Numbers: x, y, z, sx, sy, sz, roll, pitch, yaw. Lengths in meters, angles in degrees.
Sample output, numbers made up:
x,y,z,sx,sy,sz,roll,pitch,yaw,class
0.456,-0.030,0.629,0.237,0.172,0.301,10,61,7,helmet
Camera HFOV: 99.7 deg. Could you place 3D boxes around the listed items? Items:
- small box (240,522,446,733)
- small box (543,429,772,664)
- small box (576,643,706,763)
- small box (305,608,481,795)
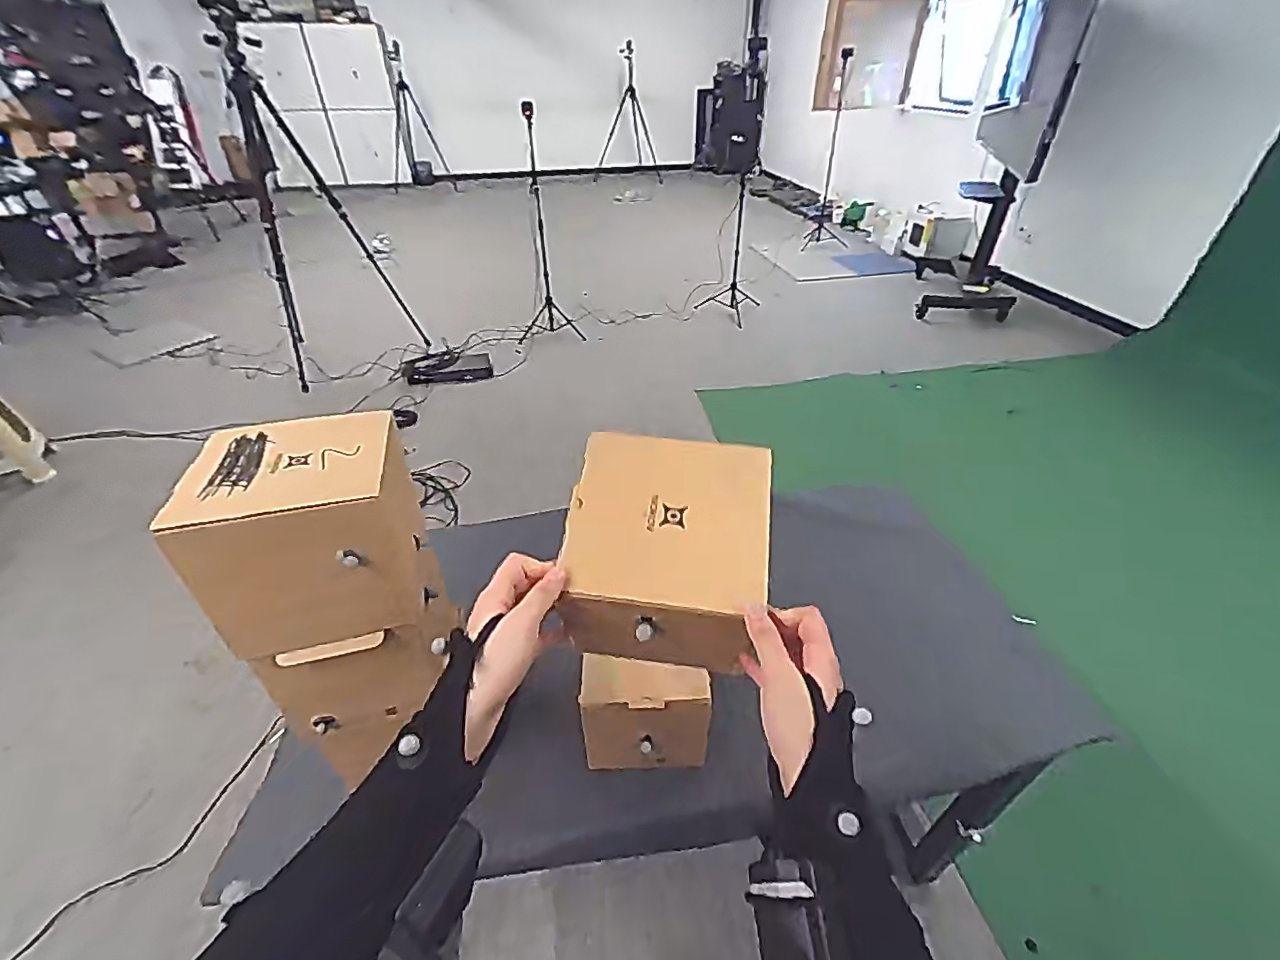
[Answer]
x,y,z,sx,sy,sz,roll,pitch,yaw,class
-0.340,0.182,0.663,0.168,0.176,0.179,-10,36,-12,small box
0.026,0.071,0.524,0.179,0.176,0.168,5,59,8,small box
0.004,0.290,0.780,0.168,0.176,0.179,-2,37,0,small box
-0.328,0.311,0.765,0.179,0.176,0.168,-9,37,-8,small box
